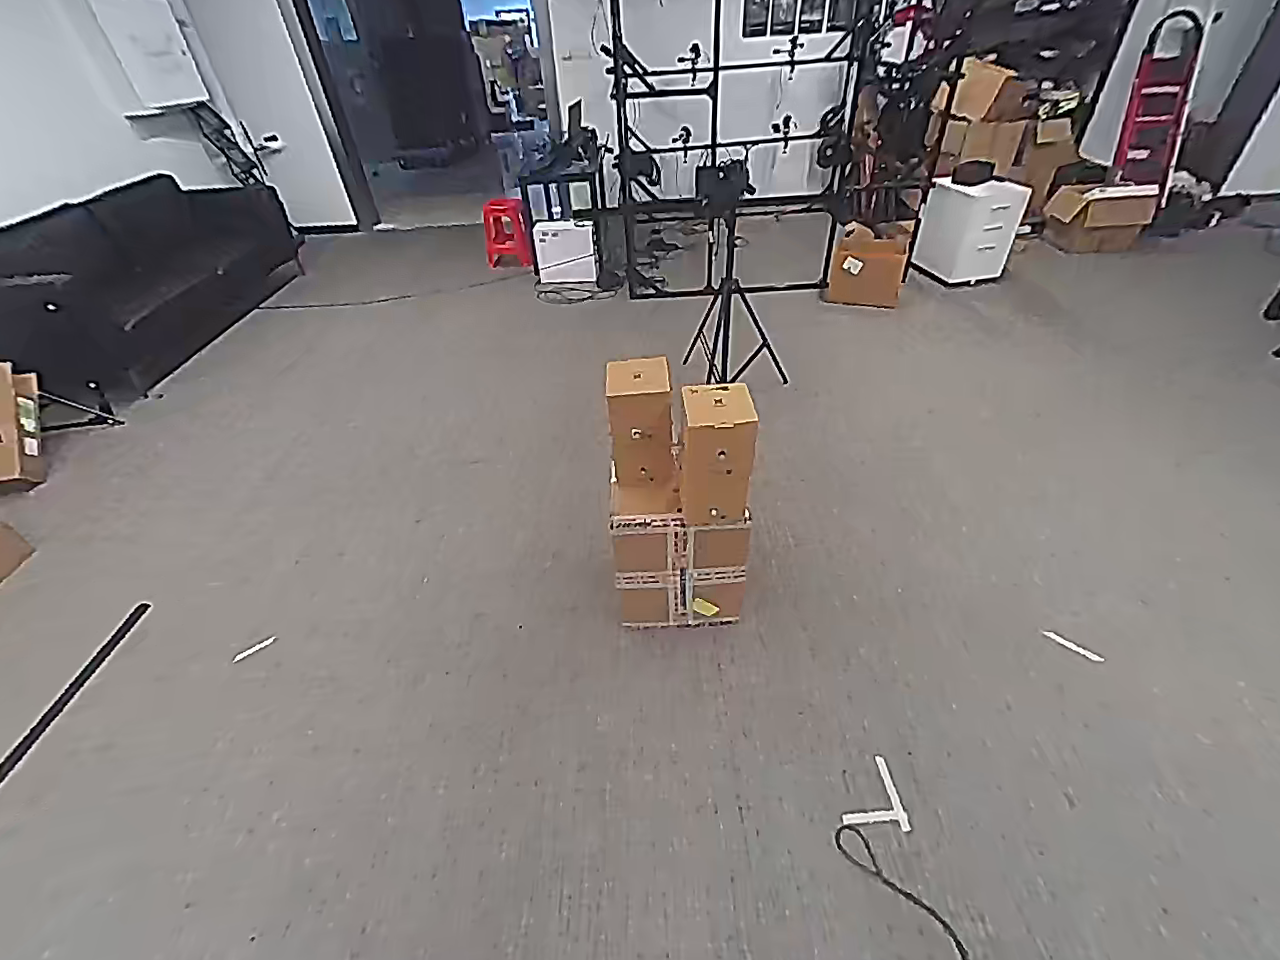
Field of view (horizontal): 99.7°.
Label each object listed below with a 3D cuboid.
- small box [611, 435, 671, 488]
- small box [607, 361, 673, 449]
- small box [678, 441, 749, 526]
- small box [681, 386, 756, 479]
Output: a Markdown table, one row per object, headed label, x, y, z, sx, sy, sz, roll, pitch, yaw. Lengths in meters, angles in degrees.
| label | x | y | z | sx | sy | sz | roll | pitch | yaw |
| --- | --- | --- | --- | --- | --- | --- | --- | --- | --- |
| small box | 0.005 | -0.097 | 1.603 | 0.168 | 0.176 | 0.179 | -4 | 42 | 2 |
| small box | 0.000 | -0.205 | 1.480 | 0.168 | 0.176 | 0.179 | -5 | 42 | 2 |
| small box | 0.193 | 0.006 | 1.471 | 0.168 | 0.176 | 0.179 | -4 | 42 | 0 |
| small box | 0.191 | -0.114 | 1.358 | 0.168 | 0.176 | 0.179 | -3 | 42 | 0 |
